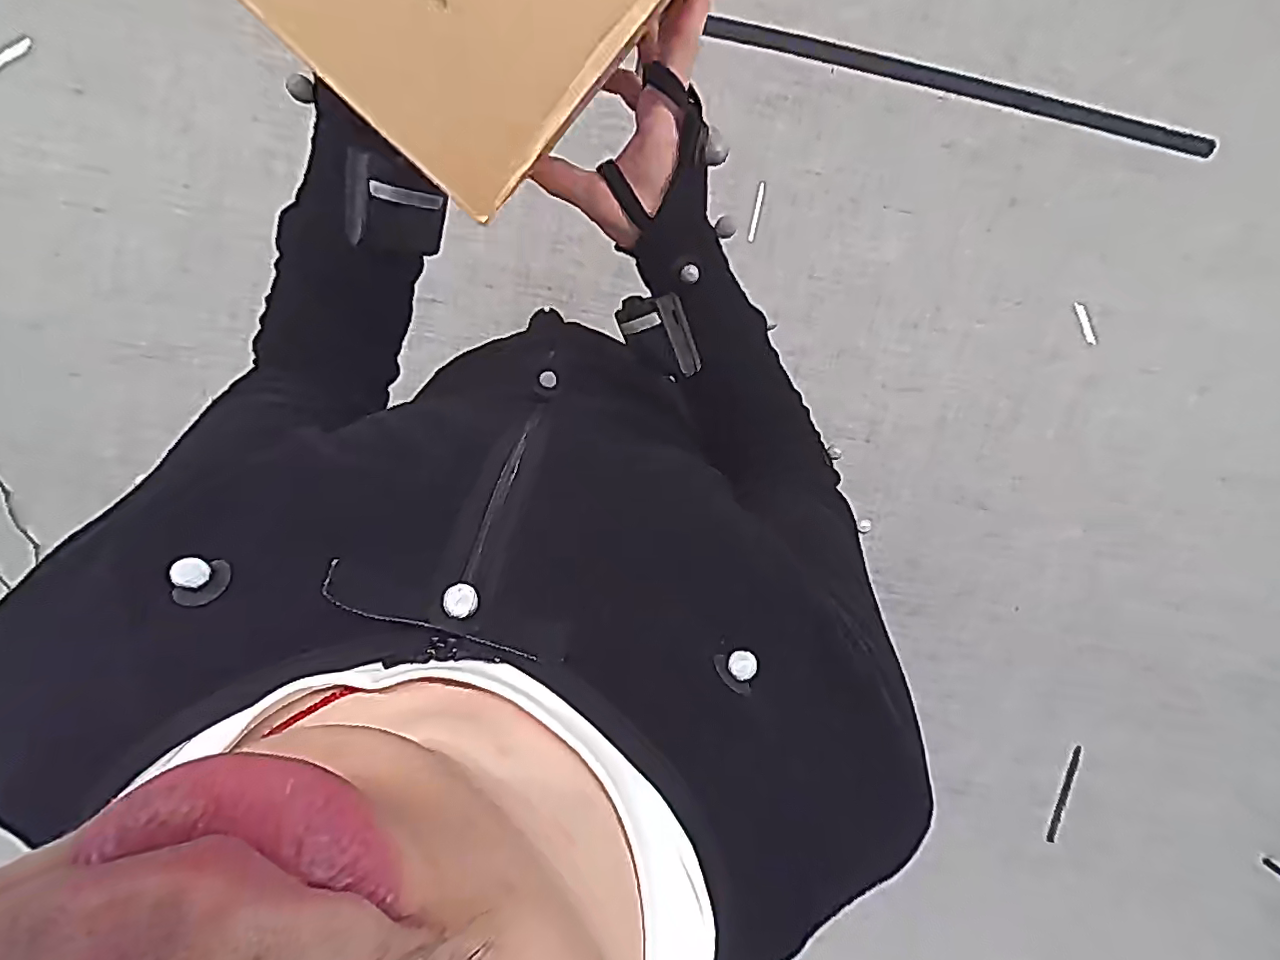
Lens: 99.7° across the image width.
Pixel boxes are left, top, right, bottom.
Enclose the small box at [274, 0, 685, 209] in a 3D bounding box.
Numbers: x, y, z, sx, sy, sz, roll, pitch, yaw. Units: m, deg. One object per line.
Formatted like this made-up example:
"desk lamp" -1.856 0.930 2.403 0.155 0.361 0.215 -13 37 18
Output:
"small box" -0.050 -0.248 0.205 0.179 0.176 0.168 -37 119 27
